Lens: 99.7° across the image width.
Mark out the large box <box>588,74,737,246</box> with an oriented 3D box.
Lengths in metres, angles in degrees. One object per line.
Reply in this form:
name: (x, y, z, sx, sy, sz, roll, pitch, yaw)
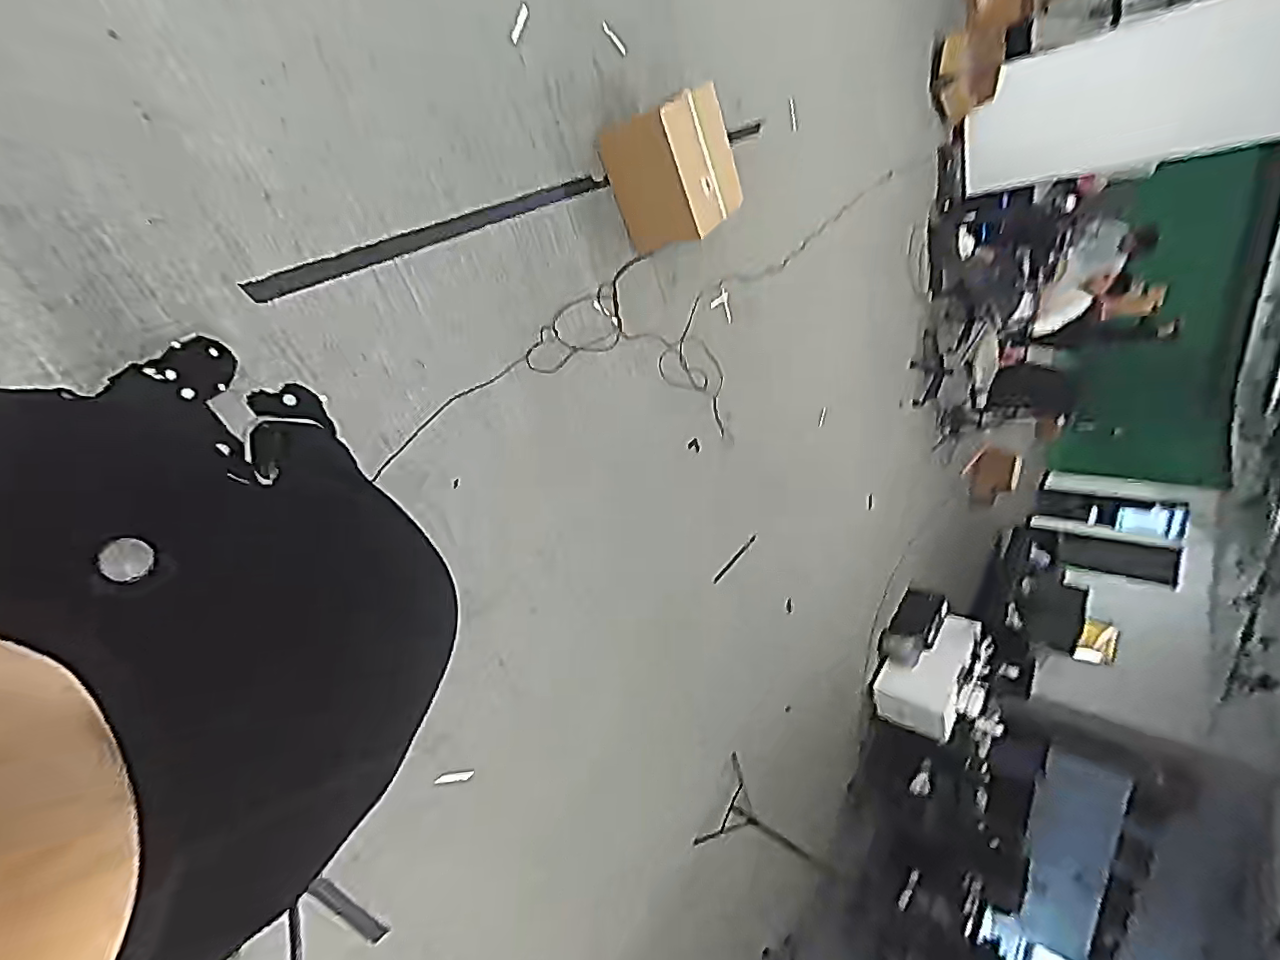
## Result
large box: (0.088, -1.104, 1.899, 0.320, 0.320, 0.408, -49, 130, -29)
